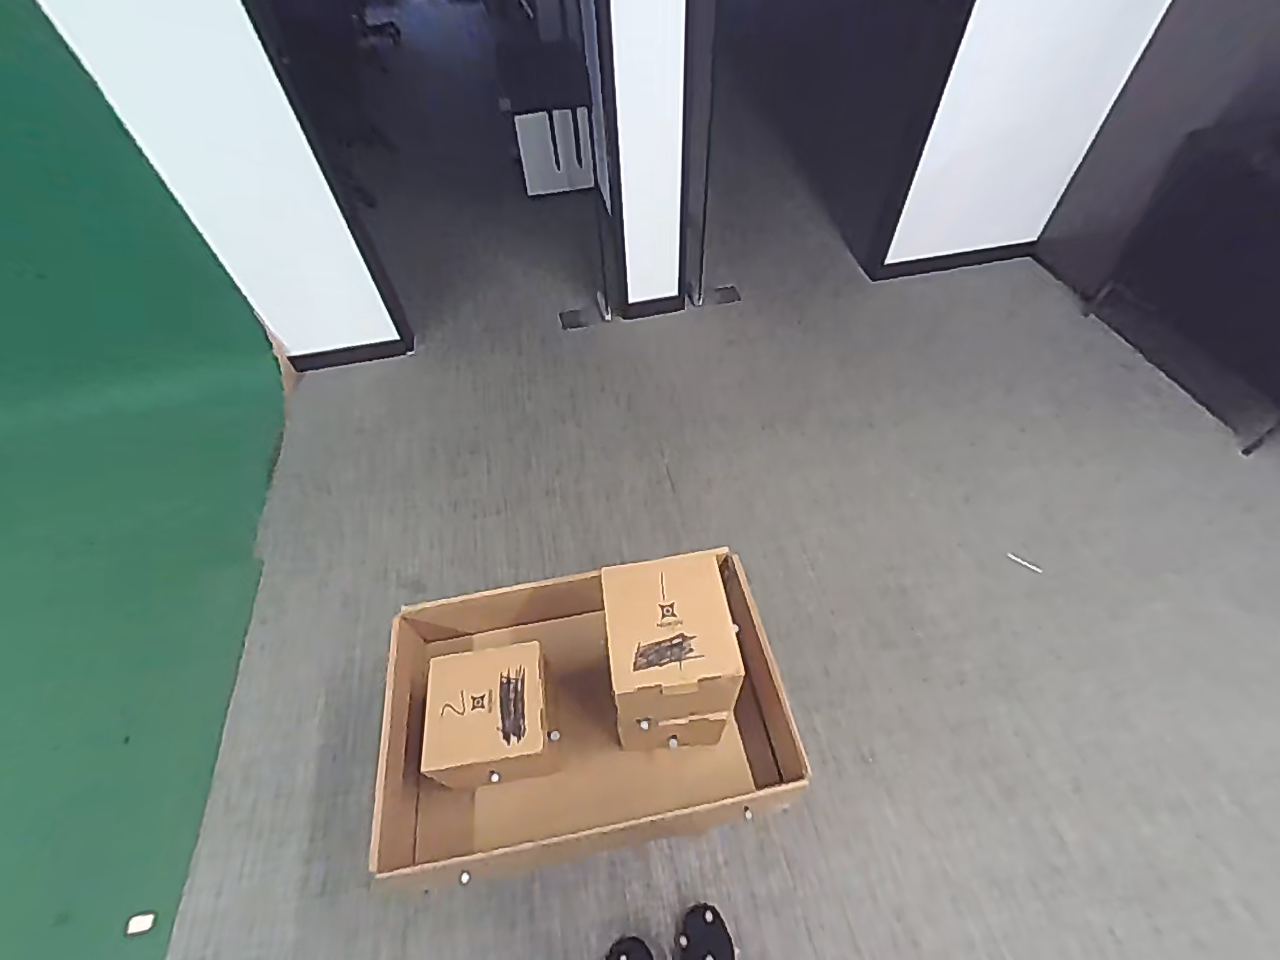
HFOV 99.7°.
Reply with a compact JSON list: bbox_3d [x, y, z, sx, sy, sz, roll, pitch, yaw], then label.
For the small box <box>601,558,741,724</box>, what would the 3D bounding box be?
[{"bbox_3d":[0.039,0.236,0.775,0.168,0.176,0.179,-7,51,-4],"label":"small box"}]
